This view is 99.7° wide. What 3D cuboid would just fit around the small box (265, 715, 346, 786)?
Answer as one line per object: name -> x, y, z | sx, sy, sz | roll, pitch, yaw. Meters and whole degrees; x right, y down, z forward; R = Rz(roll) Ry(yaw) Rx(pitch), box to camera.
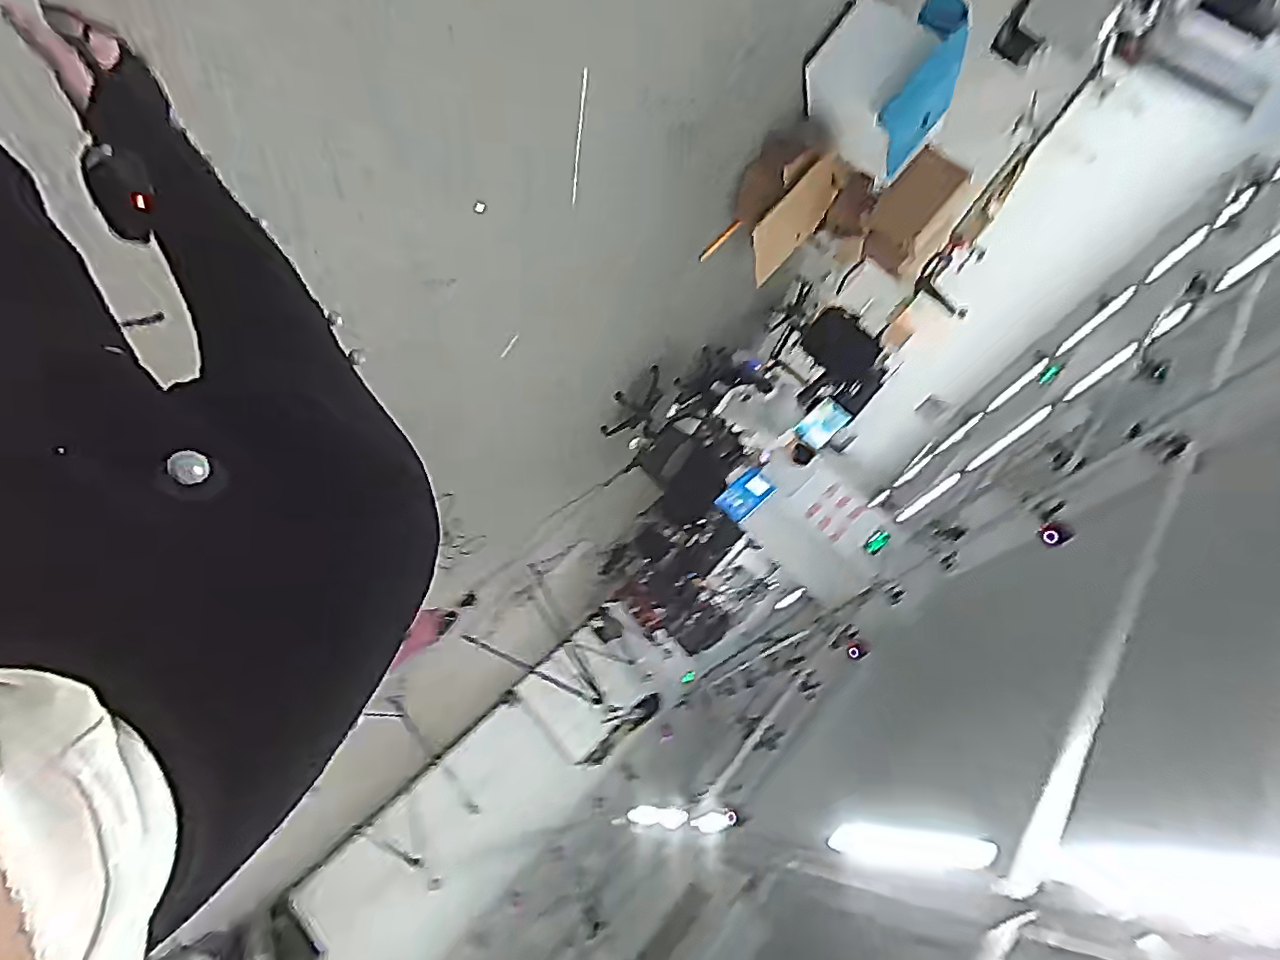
small box -> -1.218, 0.986, 1.974 | 0.168, 0.176, 0.179 | -39, 164, -27
